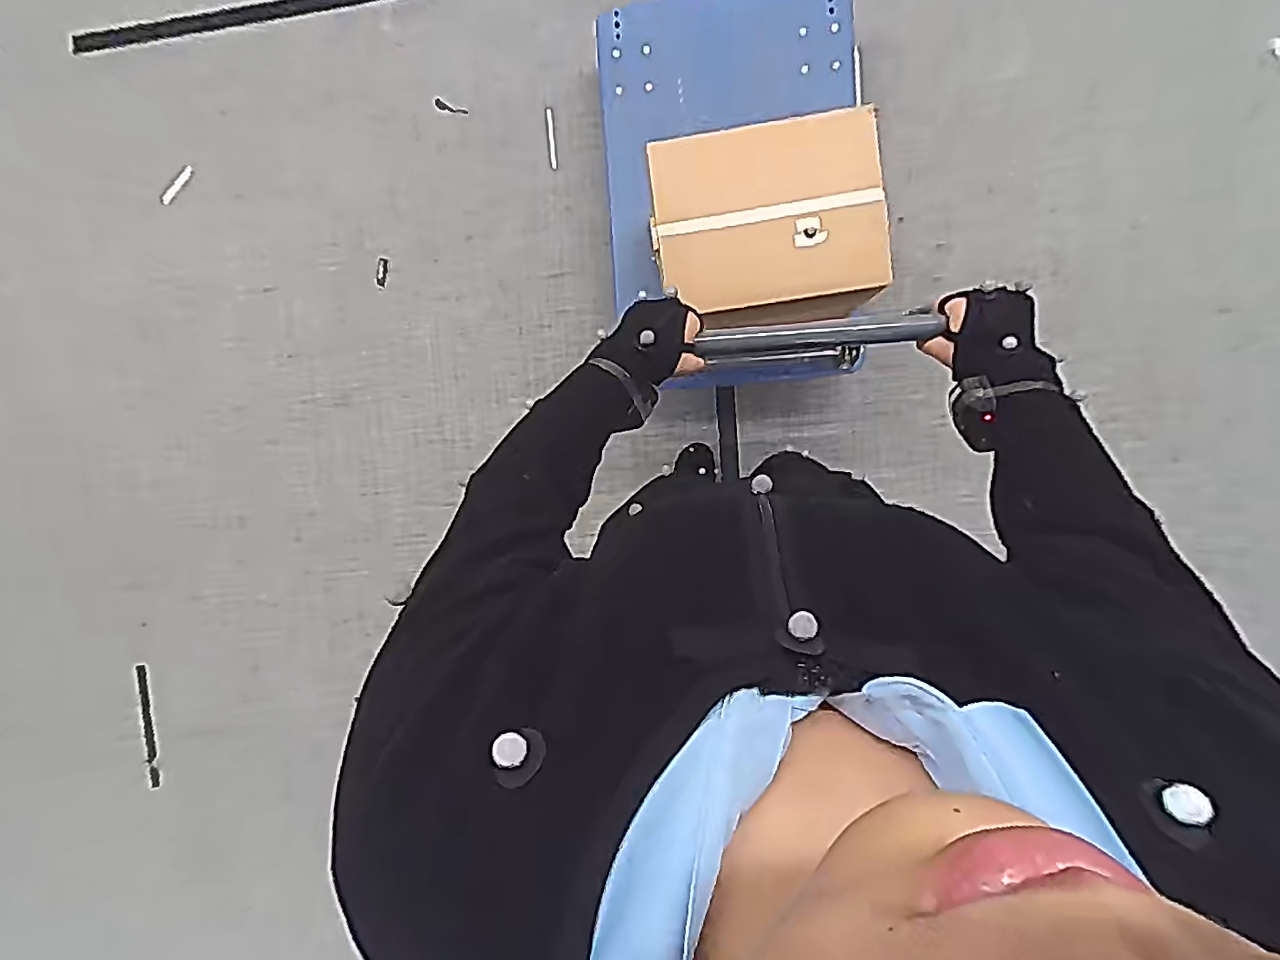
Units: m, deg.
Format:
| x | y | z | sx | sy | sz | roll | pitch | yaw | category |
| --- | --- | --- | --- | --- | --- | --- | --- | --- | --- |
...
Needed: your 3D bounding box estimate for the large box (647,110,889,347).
| x | y | z | sx | sy | sz | roll | pitch | yaw | category |
| --- | --- | --- | --- | --- | --- | --- | --- | --- | --- |
| 0.238 | -0.485 | 1.123 | 0.408 | 0.320 | 0.320 | -8 | 95 | 3 | large box |
